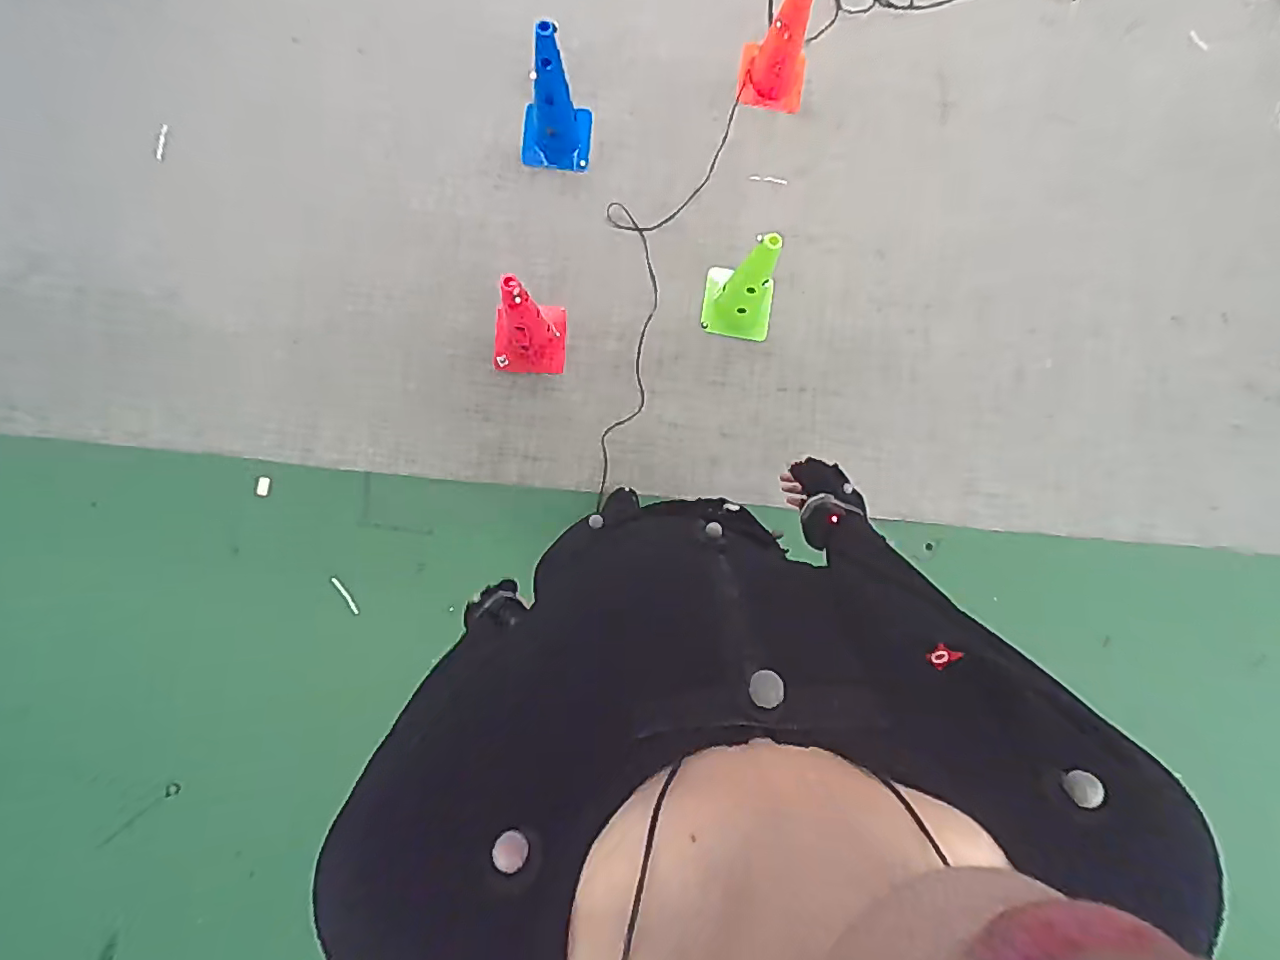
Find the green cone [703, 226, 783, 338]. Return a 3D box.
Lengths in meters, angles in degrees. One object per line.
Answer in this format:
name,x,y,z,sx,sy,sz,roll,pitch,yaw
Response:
green cone,0.300,-0.539,1.412,0.200,0.368,0.202,8,83,-3

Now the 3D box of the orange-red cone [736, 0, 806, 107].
orange-red cone,0.407,-1.259,1.487,0.198,0.360,0.199,10,86,-1
